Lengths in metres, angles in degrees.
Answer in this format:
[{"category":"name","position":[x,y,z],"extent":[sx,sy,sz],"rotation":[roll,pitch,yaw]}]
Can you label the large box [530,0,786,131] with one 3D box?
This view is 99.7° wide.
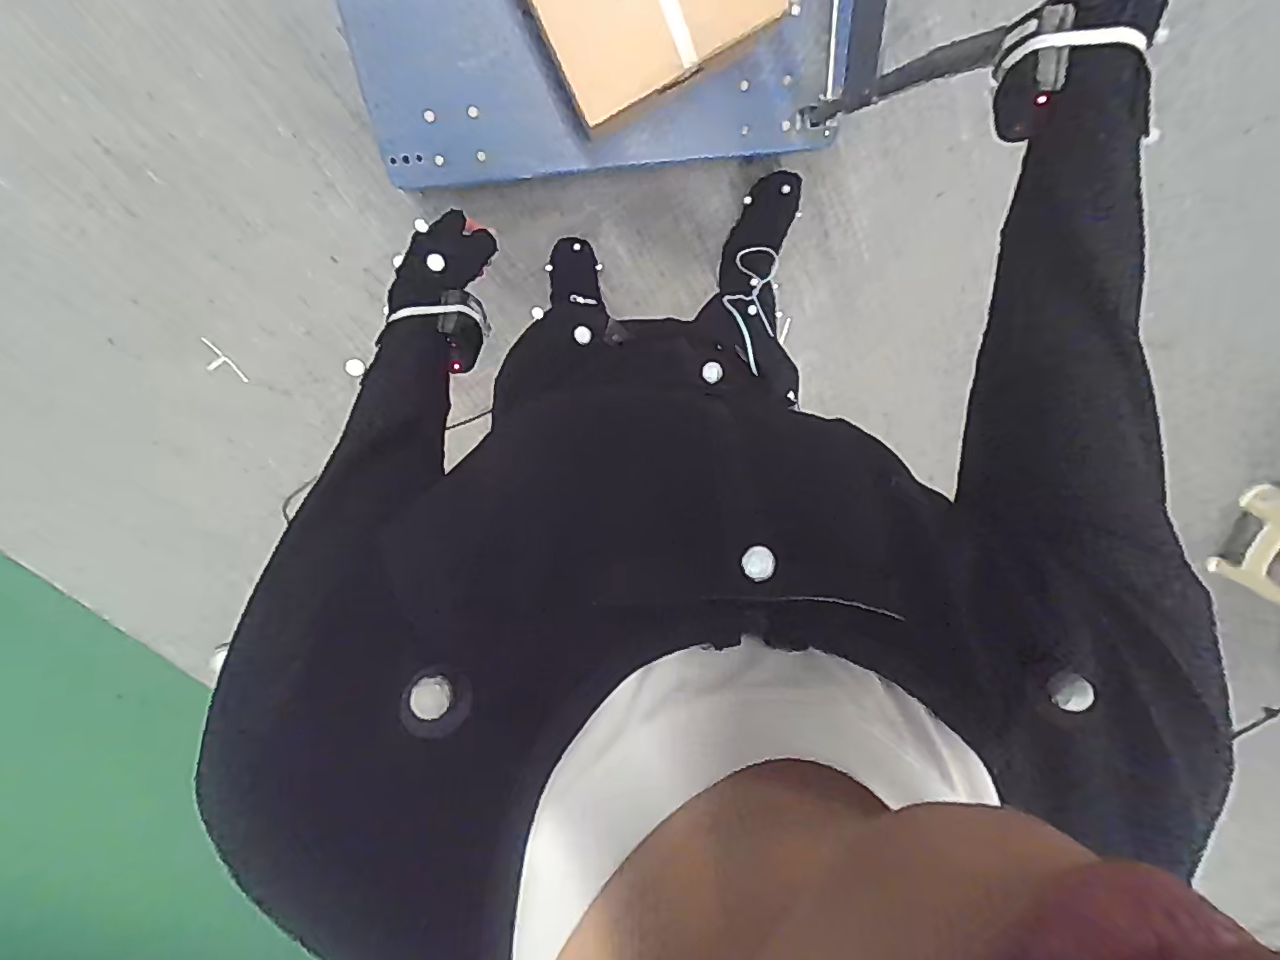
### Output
[{"category":"large box","position":[-0.032,-0.797,0.774],"extent":[0.320,0.320,0.408],"rotation":[-26,118,11]}]
